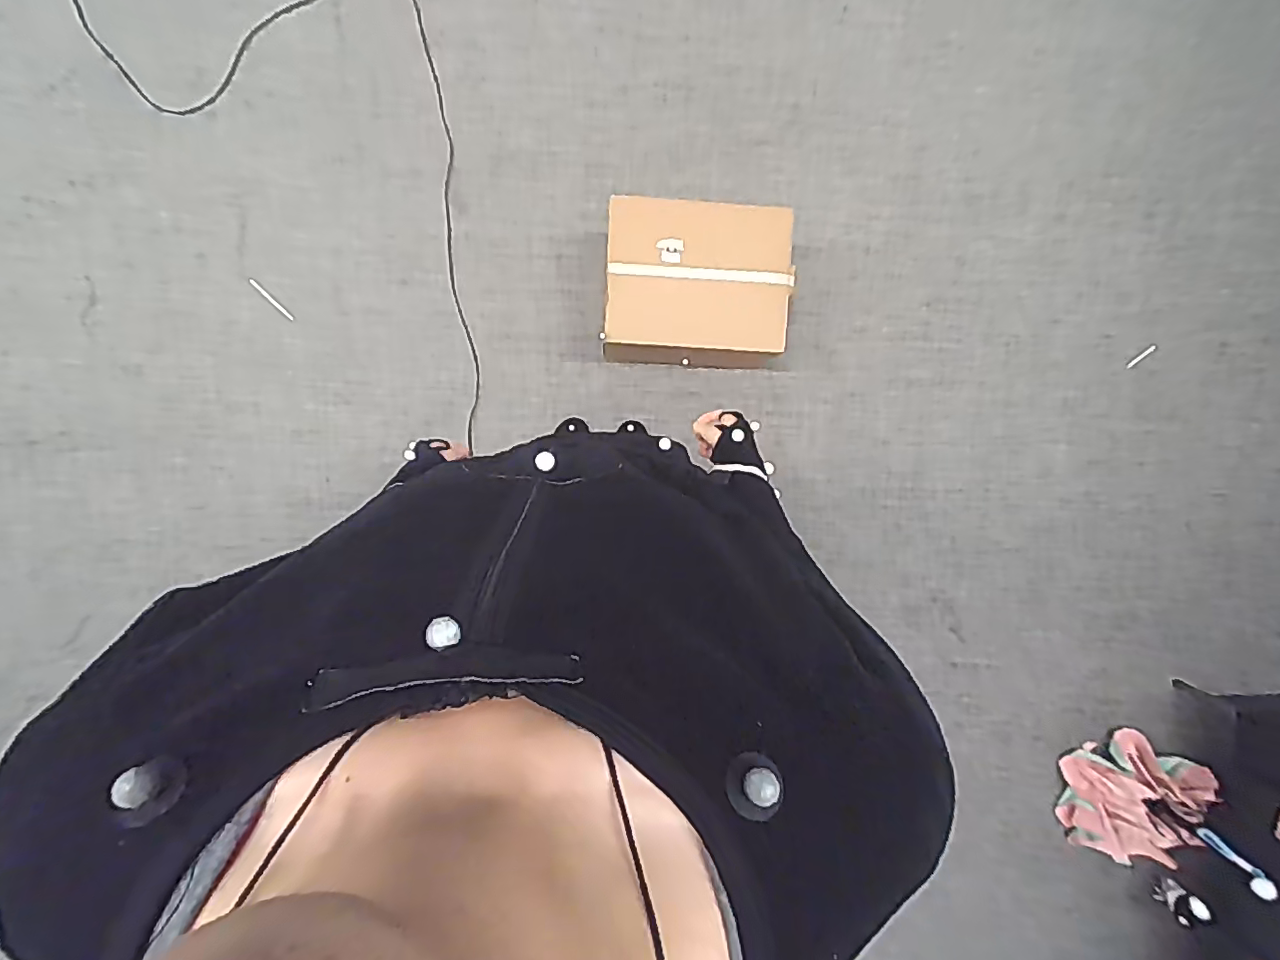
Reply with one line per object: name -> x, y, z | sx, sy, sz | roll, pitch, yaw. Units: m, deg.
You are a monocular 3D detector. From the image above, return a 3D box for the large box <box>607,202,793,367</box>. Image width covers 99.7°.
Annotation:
large box -> 0.128, -0.455, 1.333 | 0.408, 0.320, 0.320 | 3, 95, -2
